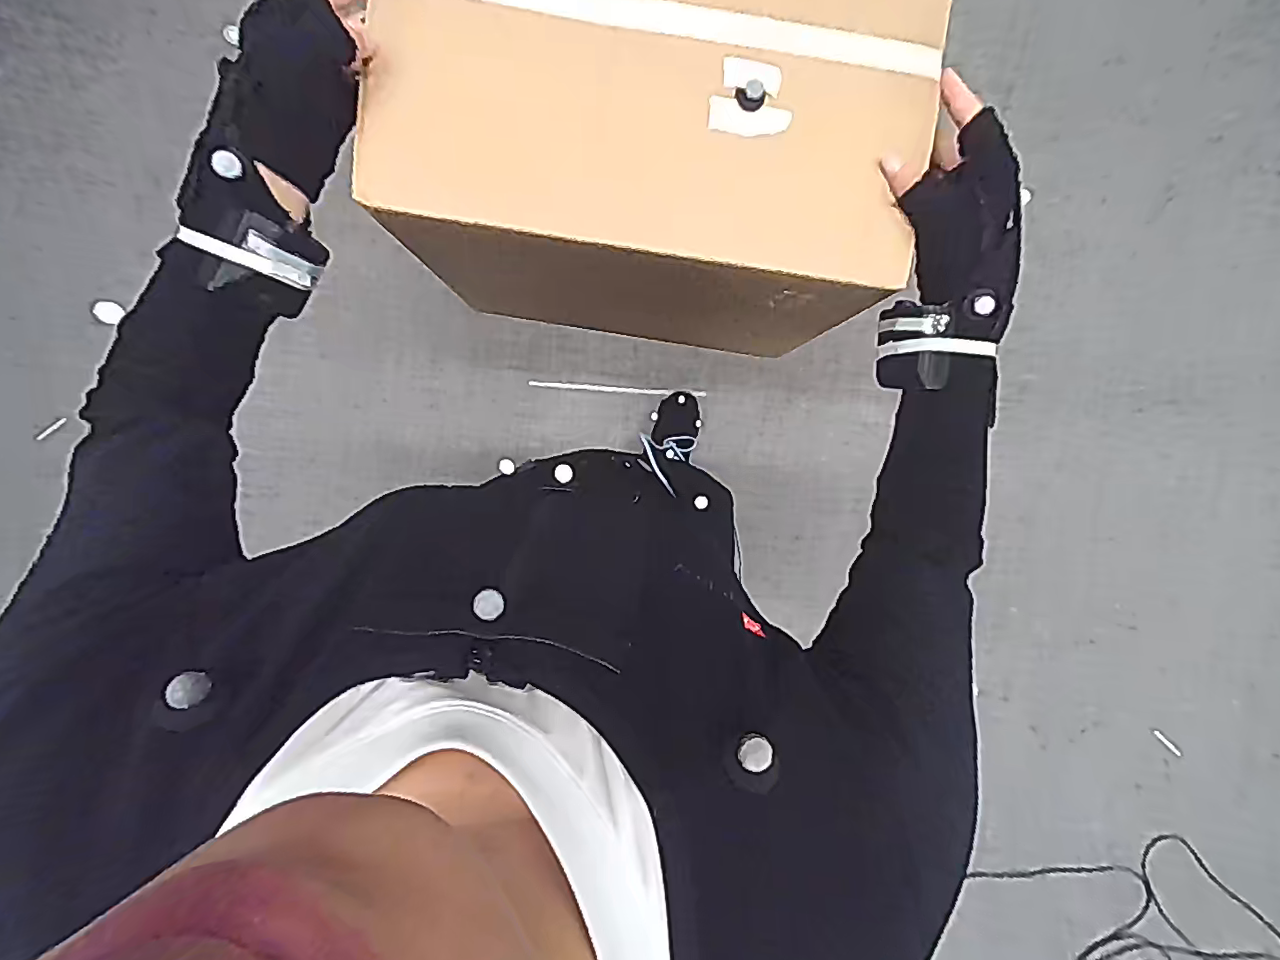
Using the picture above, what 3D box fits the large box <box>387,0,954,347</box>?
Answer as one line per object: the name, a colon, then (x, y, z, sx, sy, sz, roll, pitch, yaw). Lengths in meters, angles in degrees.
large box: (0.020, -0.339, 0.542, 0.408, 0.320, 0.320, 8, 94, -4)
